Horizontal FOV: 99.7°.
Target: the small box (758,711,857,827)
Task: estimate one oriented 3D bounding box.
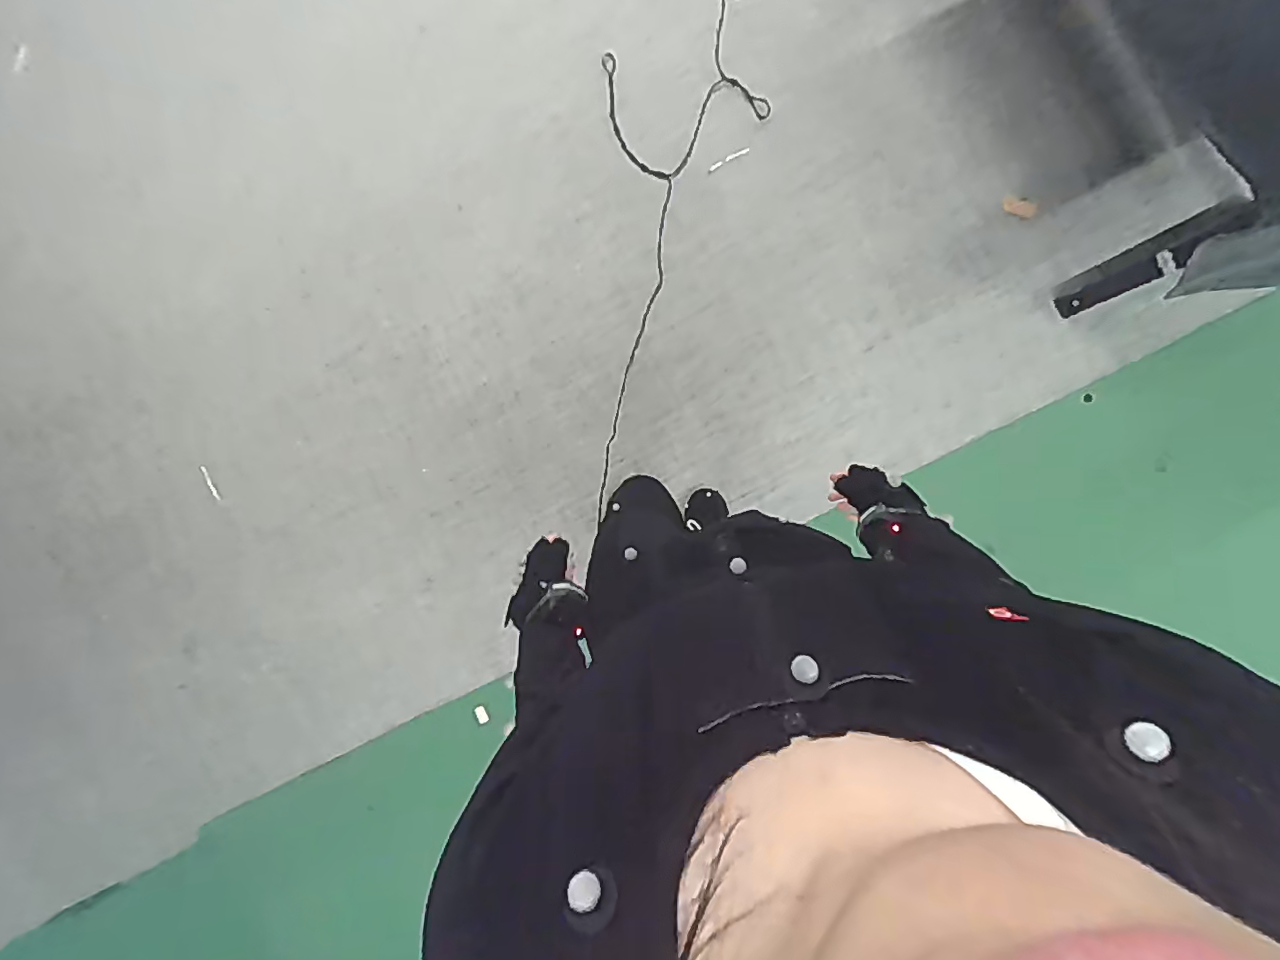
[{"bbox_3d":[0.422,0.732,1.389,0.168,0.176,0.179,-27,87,4],"label":"small box"}]
